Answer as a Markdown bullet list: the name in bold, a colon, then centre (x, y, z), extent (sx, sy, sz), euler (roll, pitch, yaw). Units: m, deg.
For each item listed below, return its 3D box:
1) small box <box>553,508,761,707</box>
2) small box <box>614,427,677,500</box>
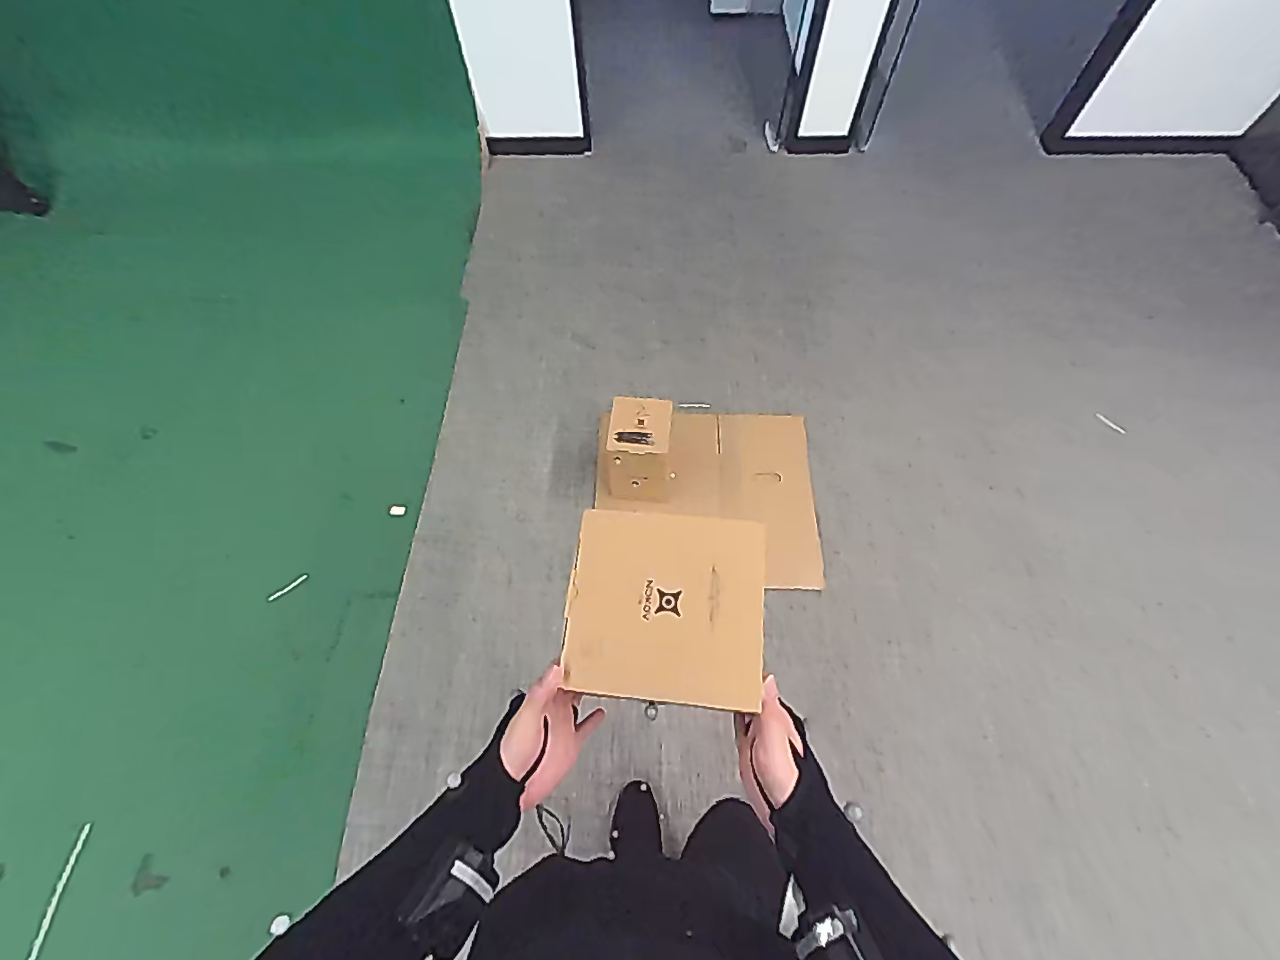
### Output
- **small box**: centre (0.027, 0.138, 0.560), extent (0.179, 0.176, 0.168), euler (4, 68, 8)
- **small box**: centre (0.020, -0.046, 1.679), extent (0.179, 0.176, 0.168), euler (5, 64, 4)
